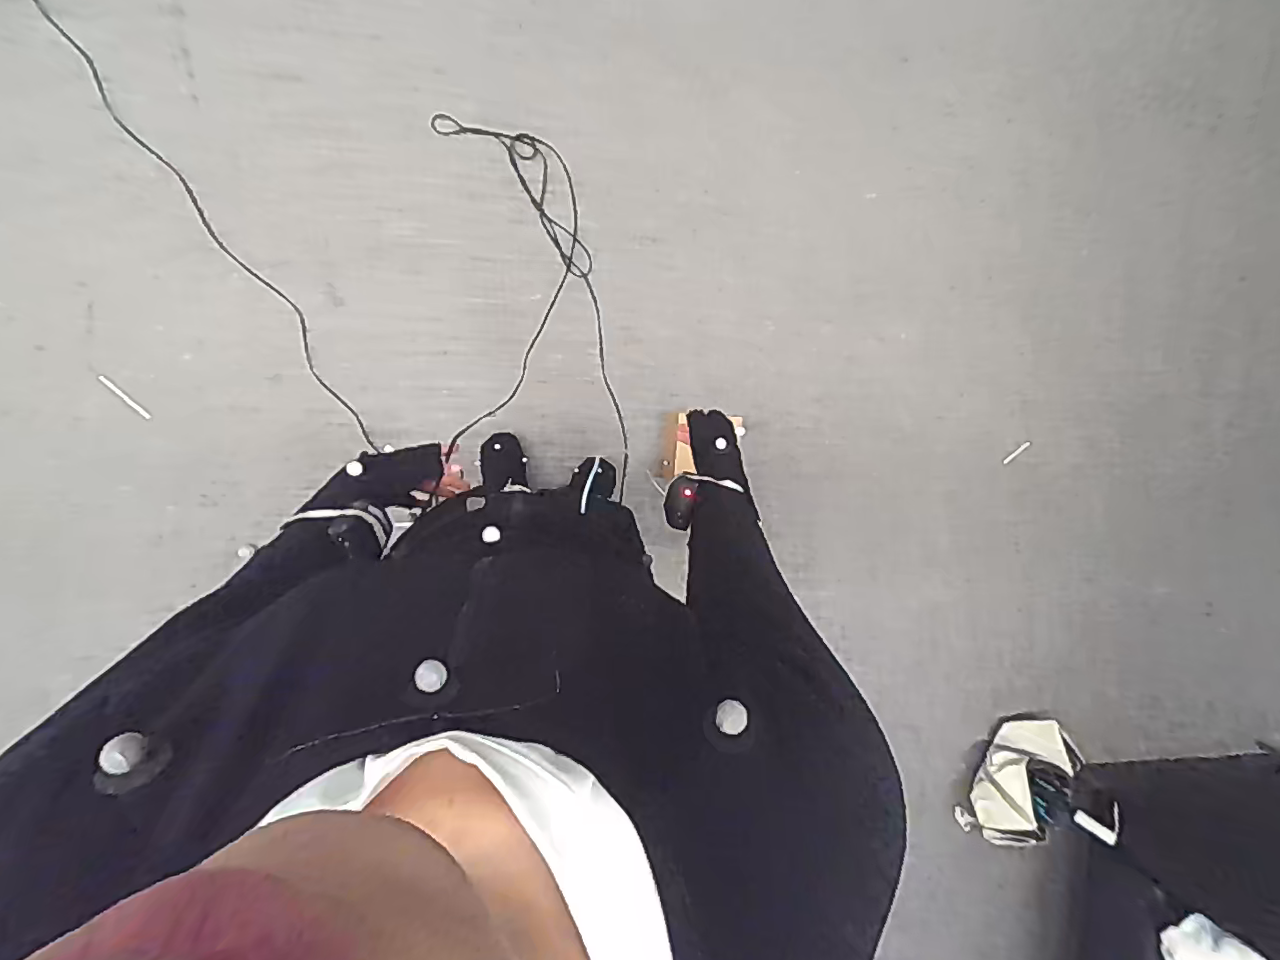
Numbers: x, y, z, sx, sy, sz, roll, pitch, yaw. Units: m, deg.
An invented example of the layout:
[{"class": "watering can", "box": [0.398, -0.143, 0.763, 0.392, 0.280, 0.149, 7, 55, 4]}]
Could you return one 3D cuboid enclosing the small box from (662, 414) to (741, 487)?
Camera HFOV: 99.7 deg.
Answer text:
[{"class": "small box", "box": [0.157, -0.082, 1.432, 0.168, 0.176, 0.179, 3, 96, -9]}]
